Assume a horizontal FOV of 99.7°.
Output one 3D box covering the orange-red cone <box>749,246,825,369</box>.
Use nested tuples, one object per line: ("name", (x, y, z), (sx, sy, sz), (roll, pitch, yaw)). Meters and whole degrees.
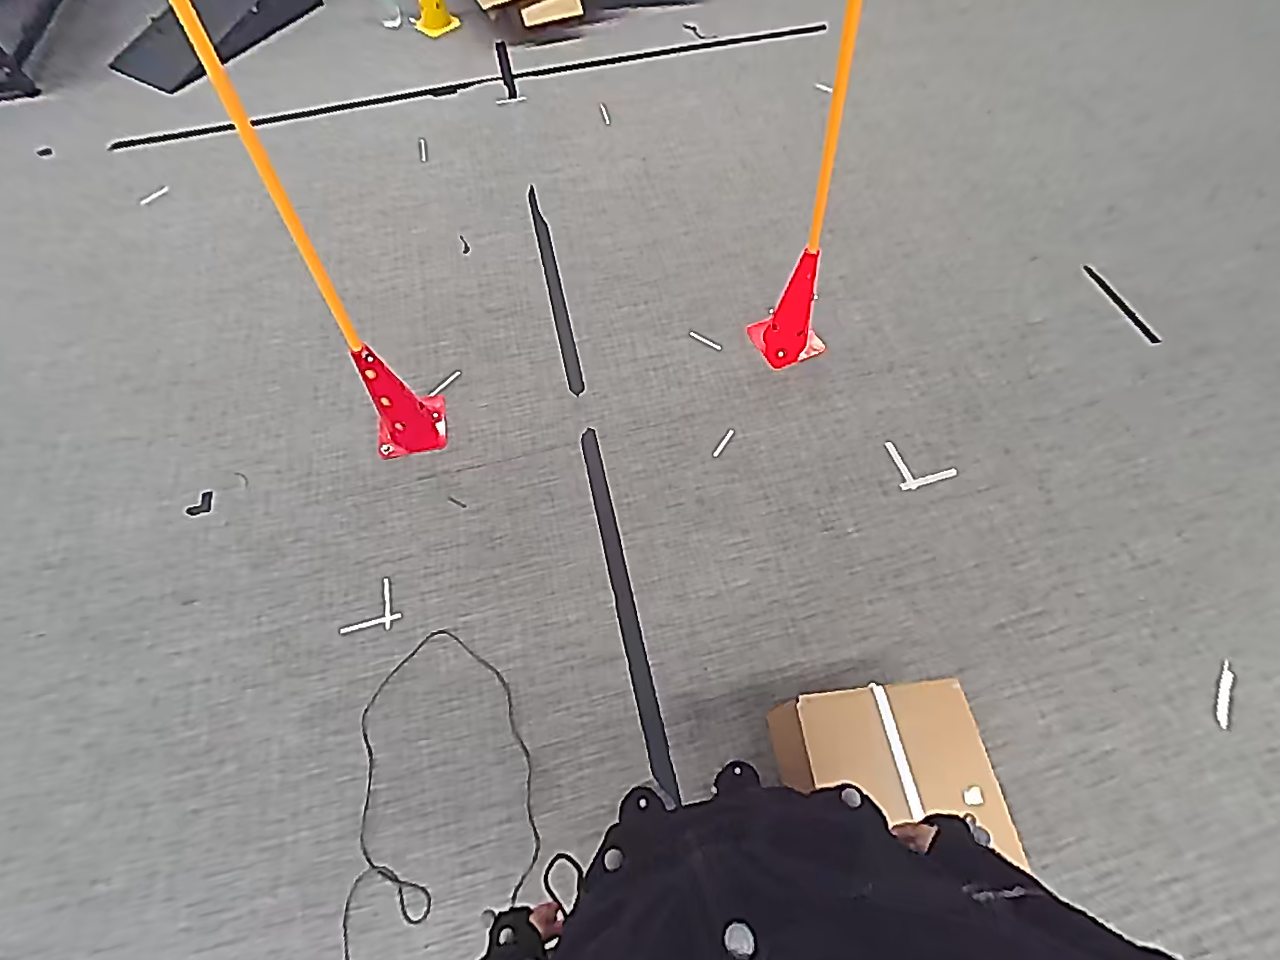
("orange-red cone", (0.475, -0.535, 1.605), (0.199, 0.360, 0.198), (-20, 65, -10))
